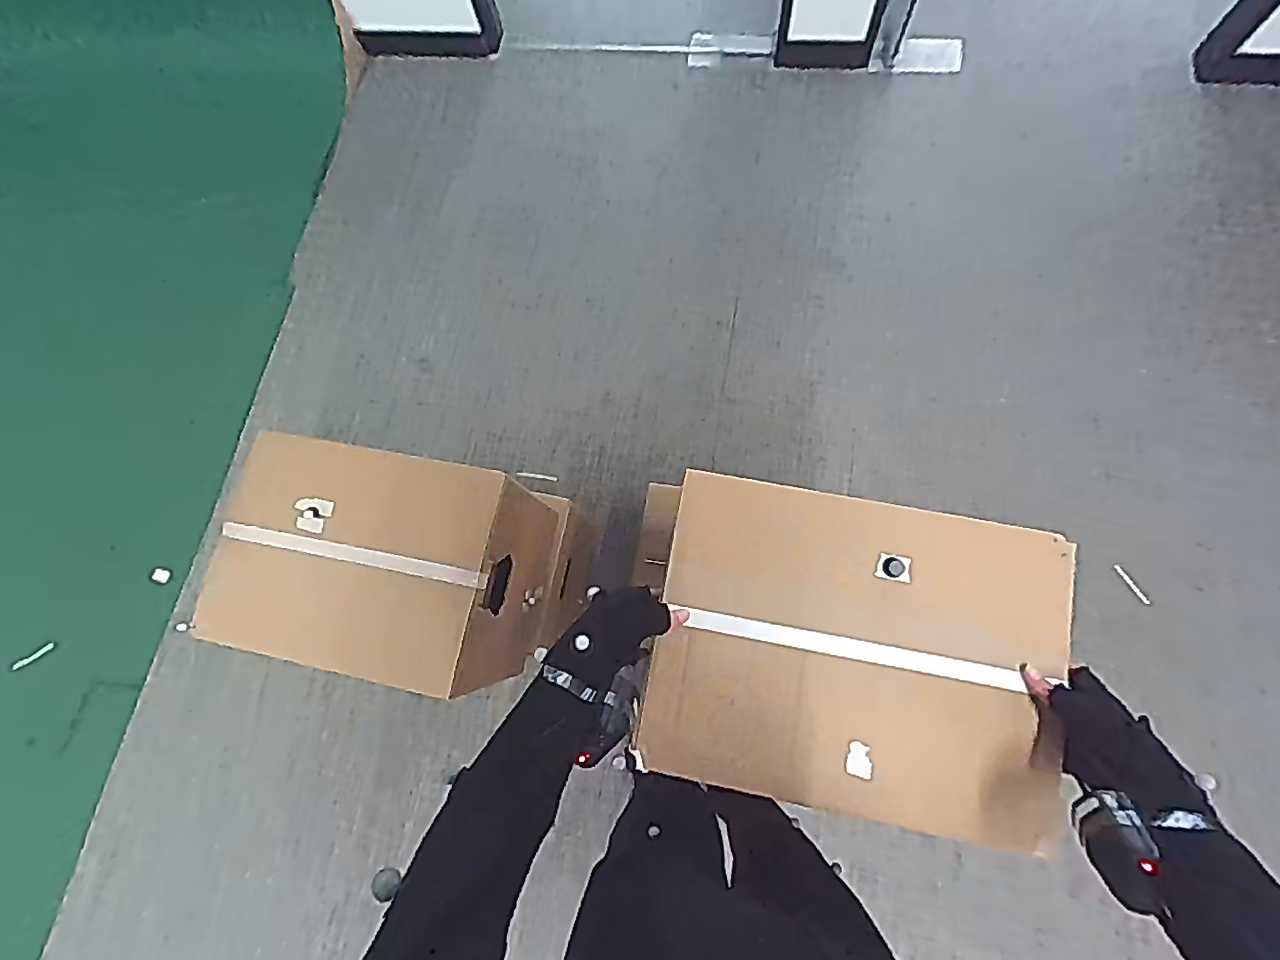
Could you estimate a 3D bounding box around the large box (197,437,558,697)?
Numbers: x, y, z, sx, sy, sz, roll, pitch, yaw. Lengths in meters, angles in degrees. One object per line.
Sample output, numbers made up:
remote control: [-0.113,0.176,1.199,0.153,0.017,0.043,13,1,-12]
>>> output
large box: [-0.392,0.142,0.910,0.408,0.320,0.320,10,78,9]
